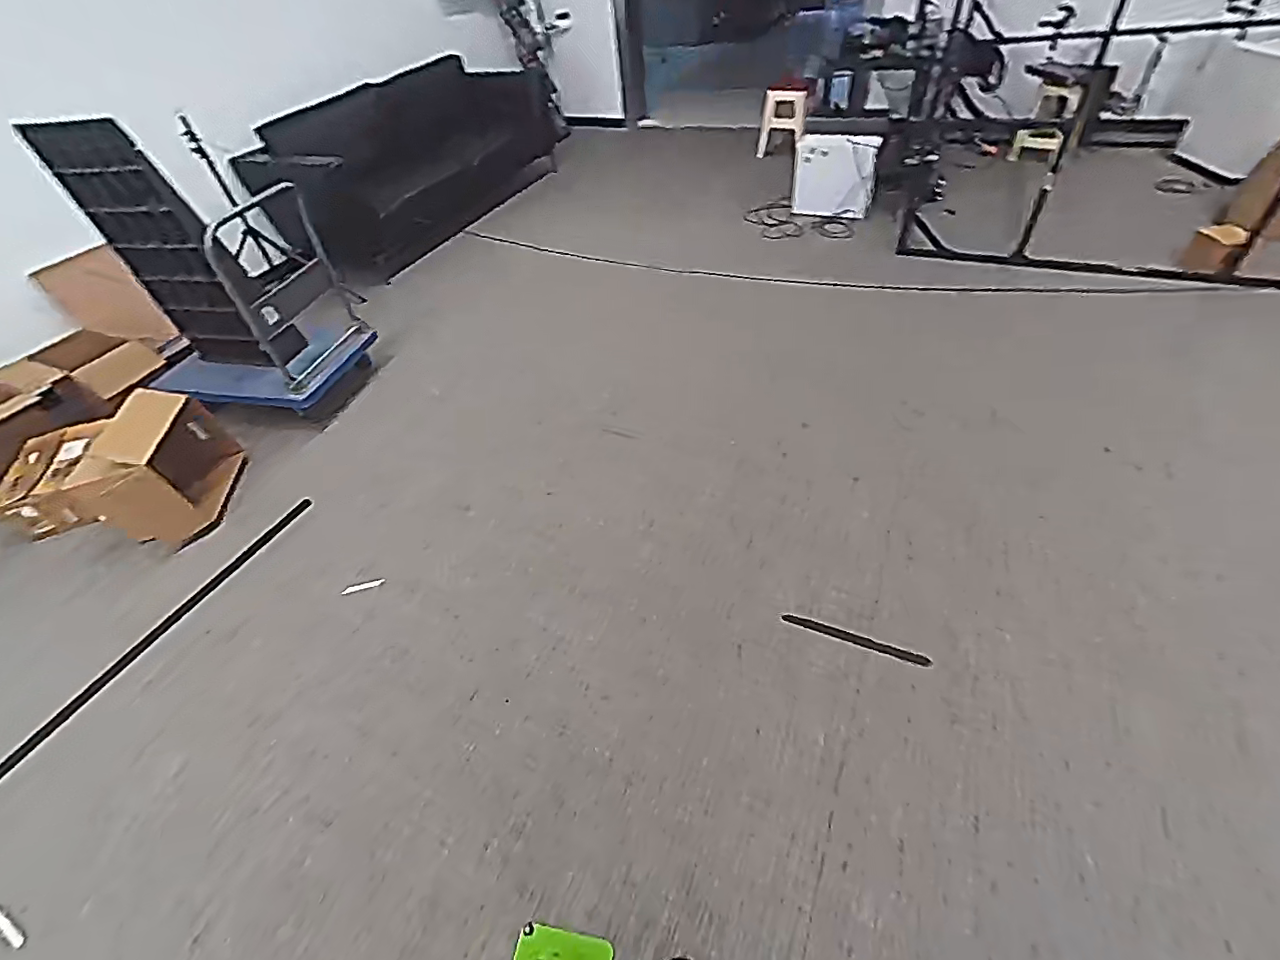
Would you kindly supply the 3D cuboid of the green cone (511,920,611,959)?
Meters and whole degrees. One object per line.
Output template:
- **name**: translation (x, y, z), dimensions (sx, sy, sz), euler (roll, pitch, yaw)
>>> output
- **green cone**: translation (-0.183, 0.880, 0.924), dimensions (0.202, 0.368, 0.200), euler (4, 47, 11)
